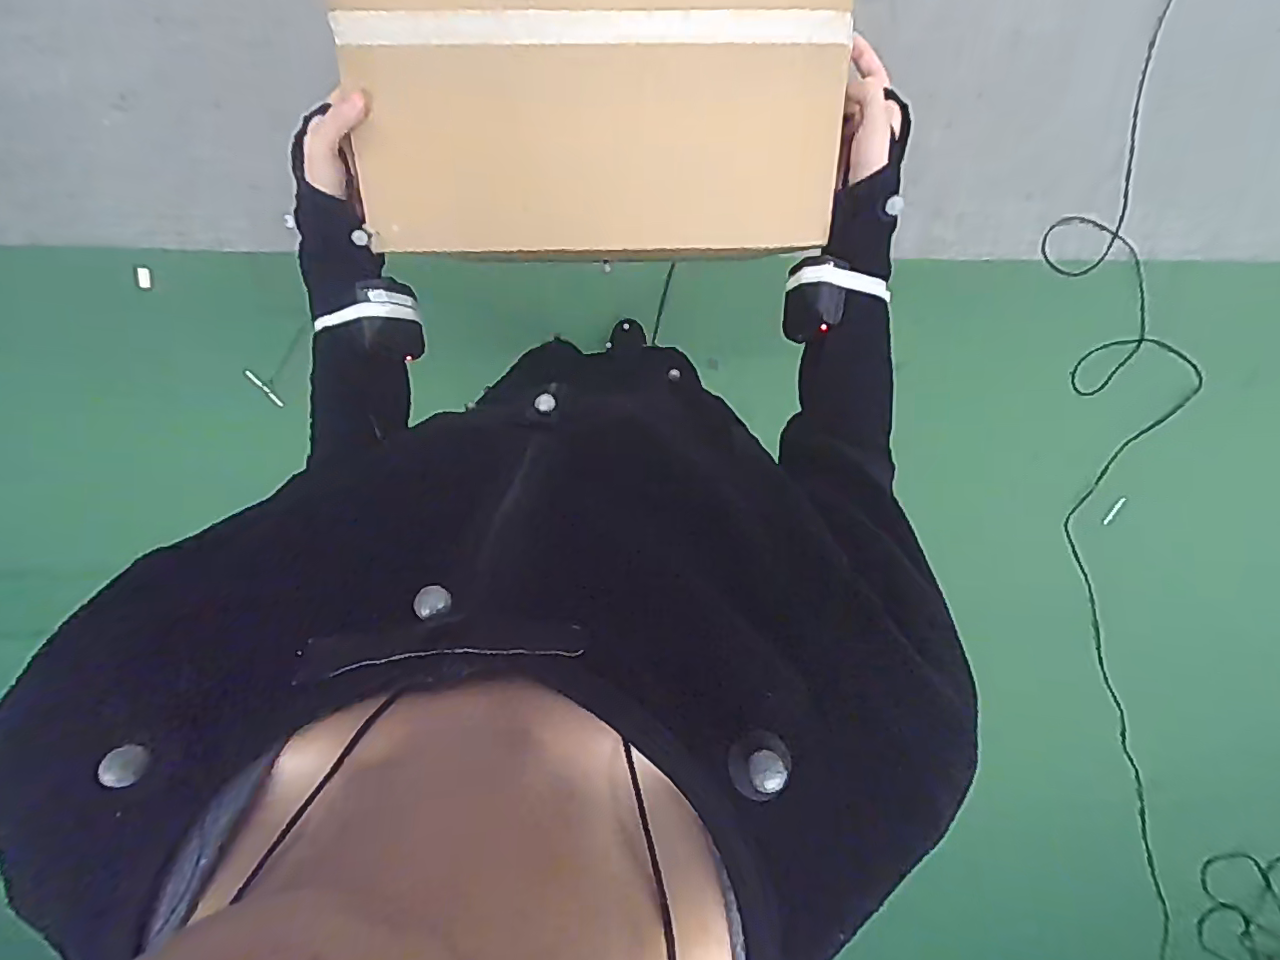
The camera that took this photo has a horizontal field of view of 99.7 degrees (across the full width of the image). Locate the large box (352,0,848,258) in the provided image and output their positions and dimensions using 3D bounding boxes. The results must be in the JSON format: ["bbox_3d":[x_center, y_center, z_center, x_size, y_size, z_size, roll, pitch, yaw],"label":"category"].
[{"bbox_3d":[-0.032,-0.414,0.577,0.408,0.320,0.320,-2,109,-1],"label":"large box"}]
